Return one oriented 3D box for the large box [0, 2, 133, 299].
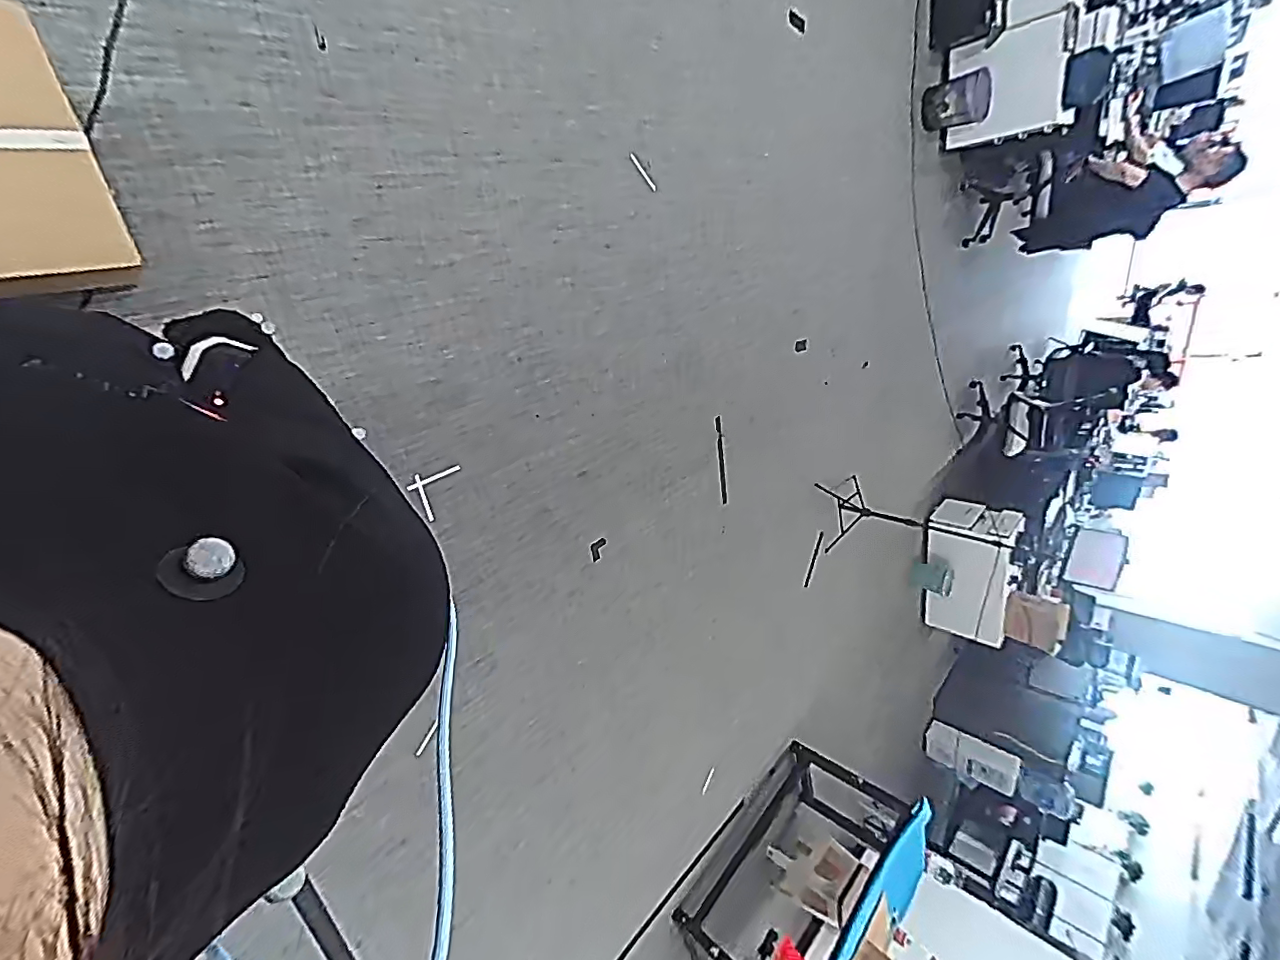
[{"bbox_3d":[-0.997,-0.402,0.709,0.408,0.320,0.320,-27,118,-38],"label":"large box"}]
